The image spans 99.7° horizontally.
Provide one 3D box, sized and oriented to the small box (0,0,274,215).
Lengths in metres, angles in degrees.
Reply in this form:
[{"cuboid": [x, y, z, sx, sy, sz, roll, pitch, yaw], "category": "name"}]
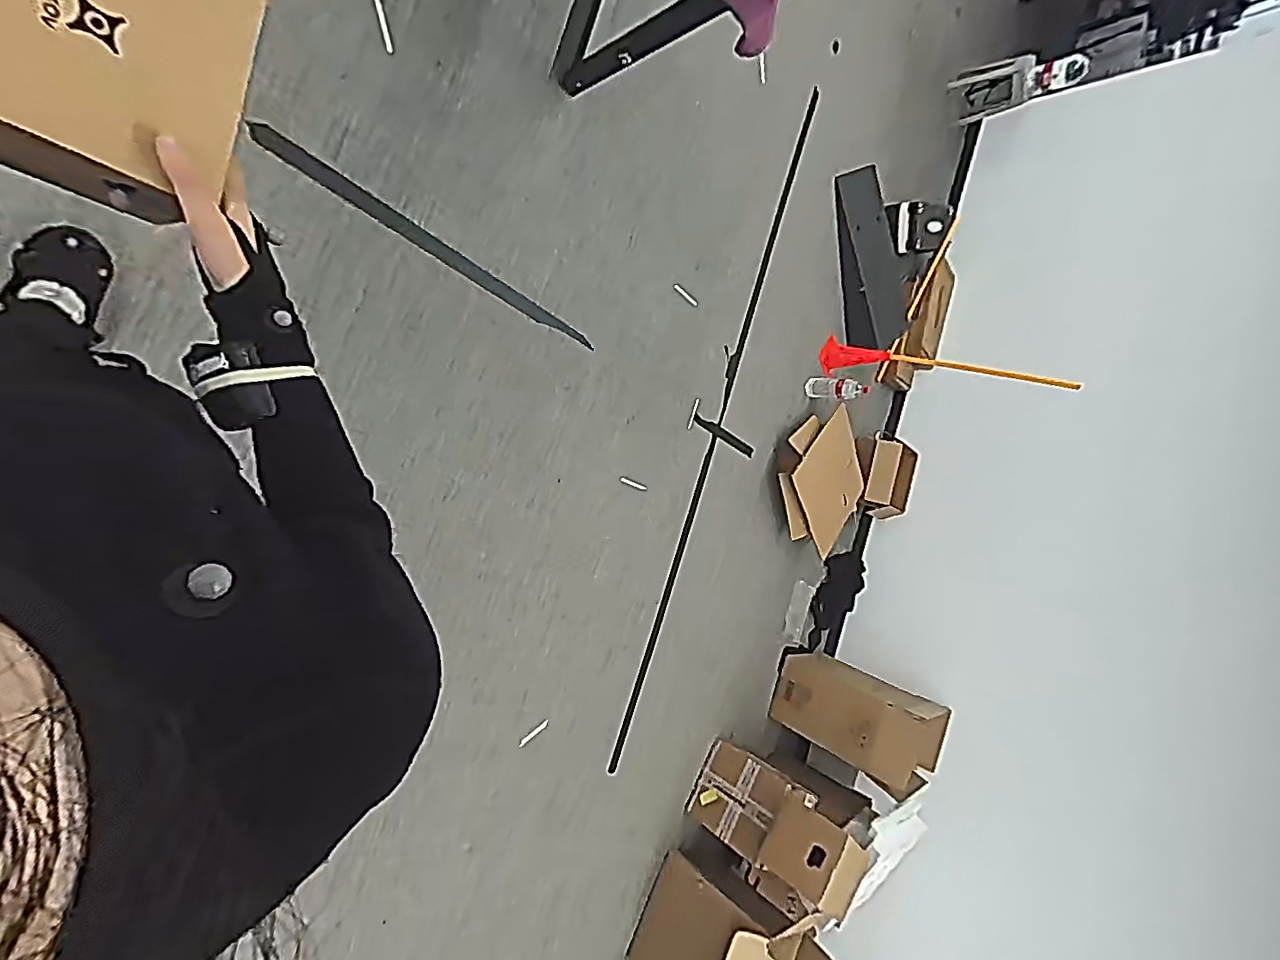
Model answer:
[{"cuboid": [-0.407, -0.311, 0.385, 0.179, 0.176, 0.168, 13, 92, -54], "category": "small box"}]
